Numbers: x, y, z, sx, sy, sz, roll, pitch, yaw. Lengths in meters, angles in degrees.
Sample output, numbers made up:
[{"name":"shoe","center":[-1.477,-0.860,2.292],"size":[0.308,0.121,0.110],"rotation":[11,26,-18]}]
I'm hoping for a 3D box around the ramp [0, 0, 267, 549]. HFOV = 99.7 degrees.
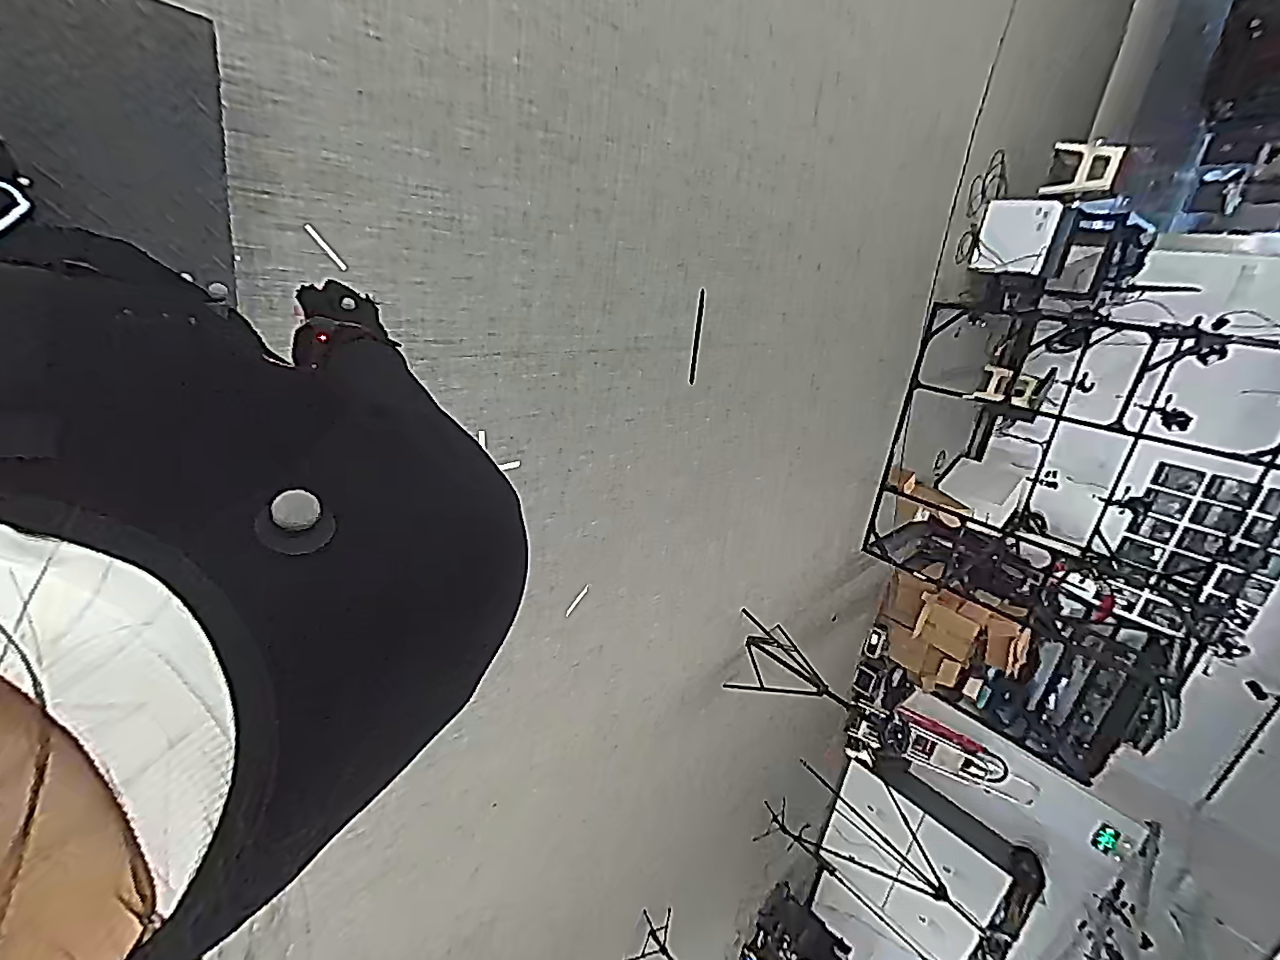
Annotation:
[{"name":"ramp","center":[-1.032,-0.325,1.014],"size":[0.509,0.206,0.991],"rotation":[-15,120,-41]}]
